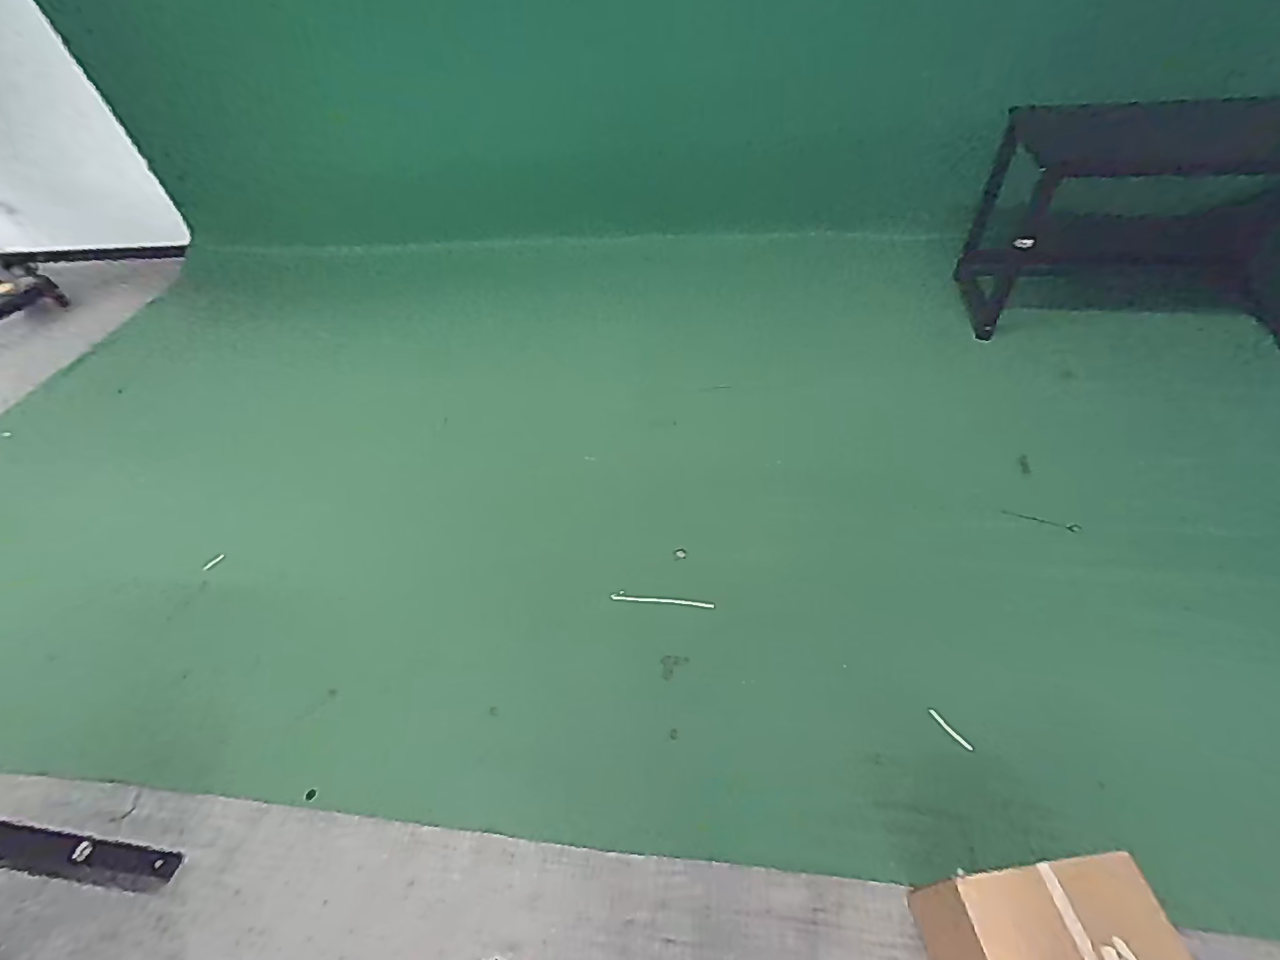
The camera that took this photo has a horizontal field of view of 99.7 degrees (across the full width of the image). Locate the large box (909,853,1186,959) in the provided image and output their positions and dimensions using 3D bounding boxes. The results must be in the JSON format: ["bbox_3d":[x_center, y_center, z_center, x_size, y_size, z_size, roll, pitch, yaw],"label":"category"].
[{"bbox_3d":[0.727,0.917,0.911,0.320,0.320,0.408,-8,46,-2],"label":"large box"}]
